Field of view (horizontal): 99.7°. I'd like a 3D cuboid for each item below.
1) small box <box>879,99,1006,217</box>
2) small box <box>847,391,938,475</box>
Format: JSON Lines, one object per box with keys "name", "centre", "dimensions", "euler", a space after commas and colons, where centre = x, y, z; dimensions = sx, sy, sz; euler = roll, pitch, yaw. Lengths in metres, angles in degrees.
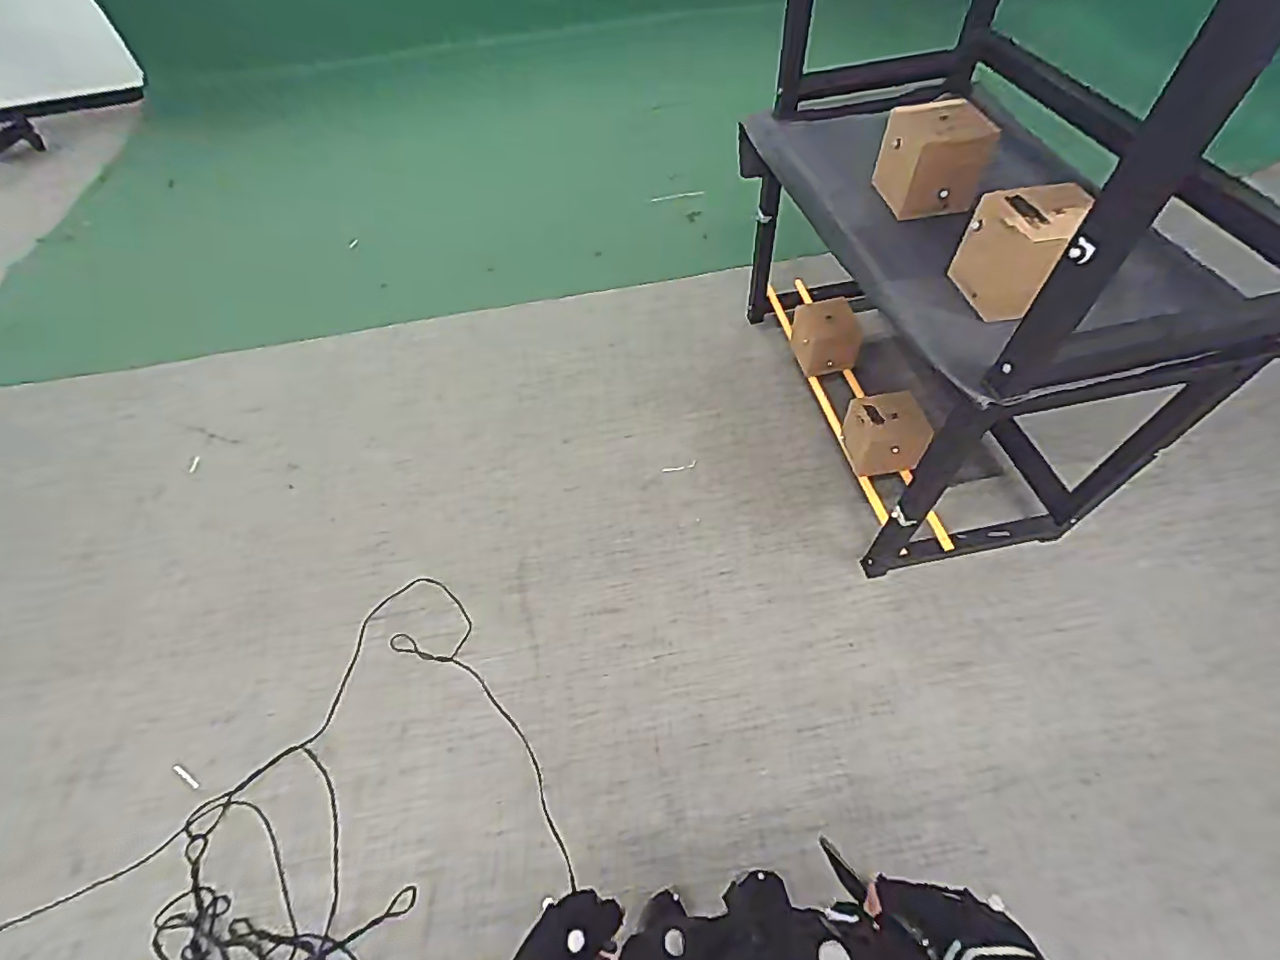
{"name": "small box", "centre": [0.665, -0.722, 1.218], "dimensions": [0.168, 0.176, 0.179], "euler": [-8, 55, 0]}
{"name": "small box", "centre": [0.716, -0.129, 1.563], "dimensions": [0.179, 0.176, 0.168], "euler": [-8, 55, 0]}
